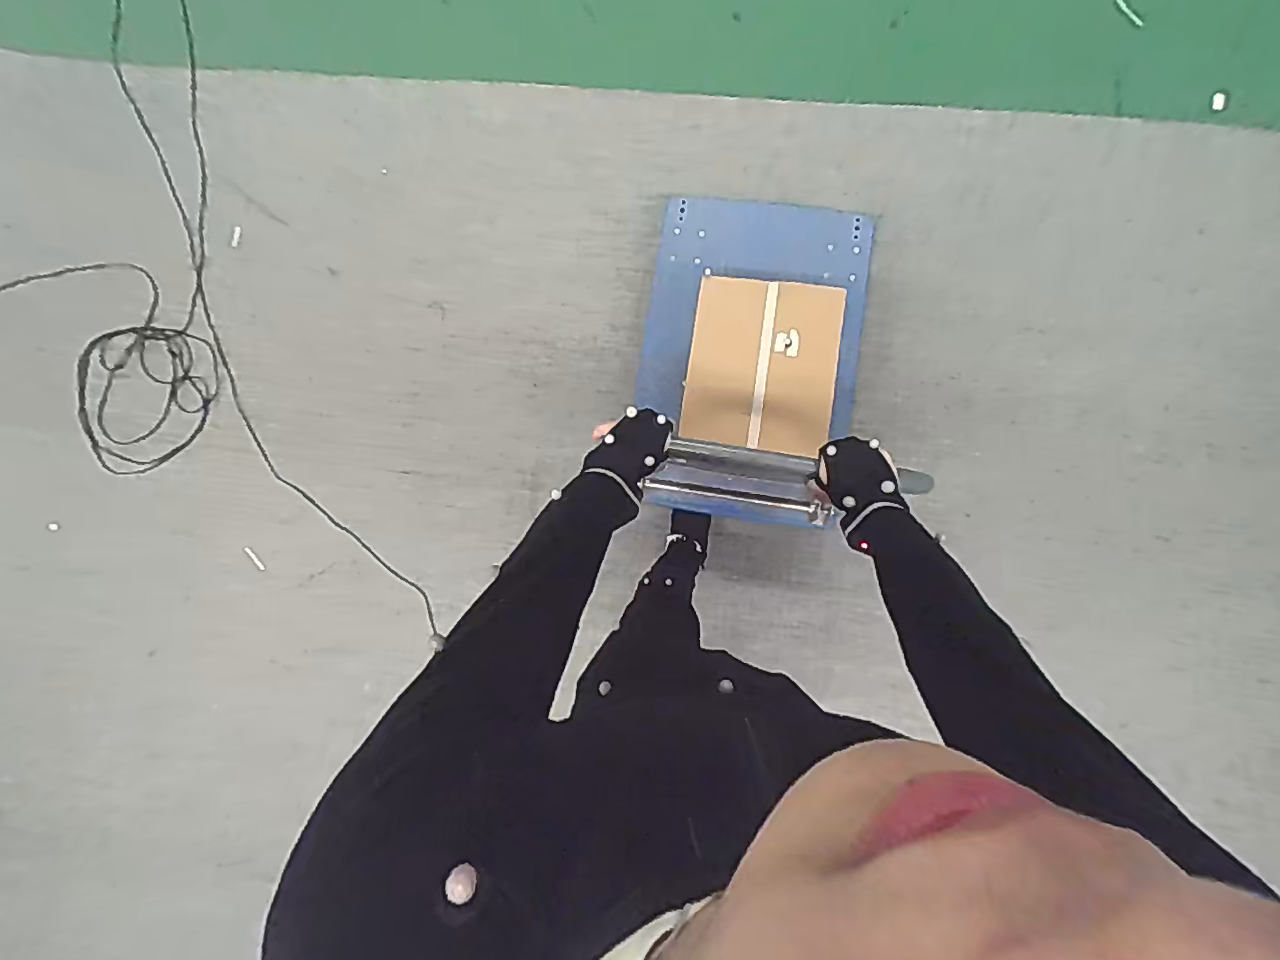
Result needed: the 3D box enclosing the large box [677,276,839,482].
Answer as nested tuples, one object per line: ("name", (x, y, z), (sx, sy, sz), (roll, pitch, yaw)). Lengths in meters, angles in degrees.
("large box", (0.272, -0.223, 1.314), (0.320, 0.320, 0.408), (8, 84, 6))
